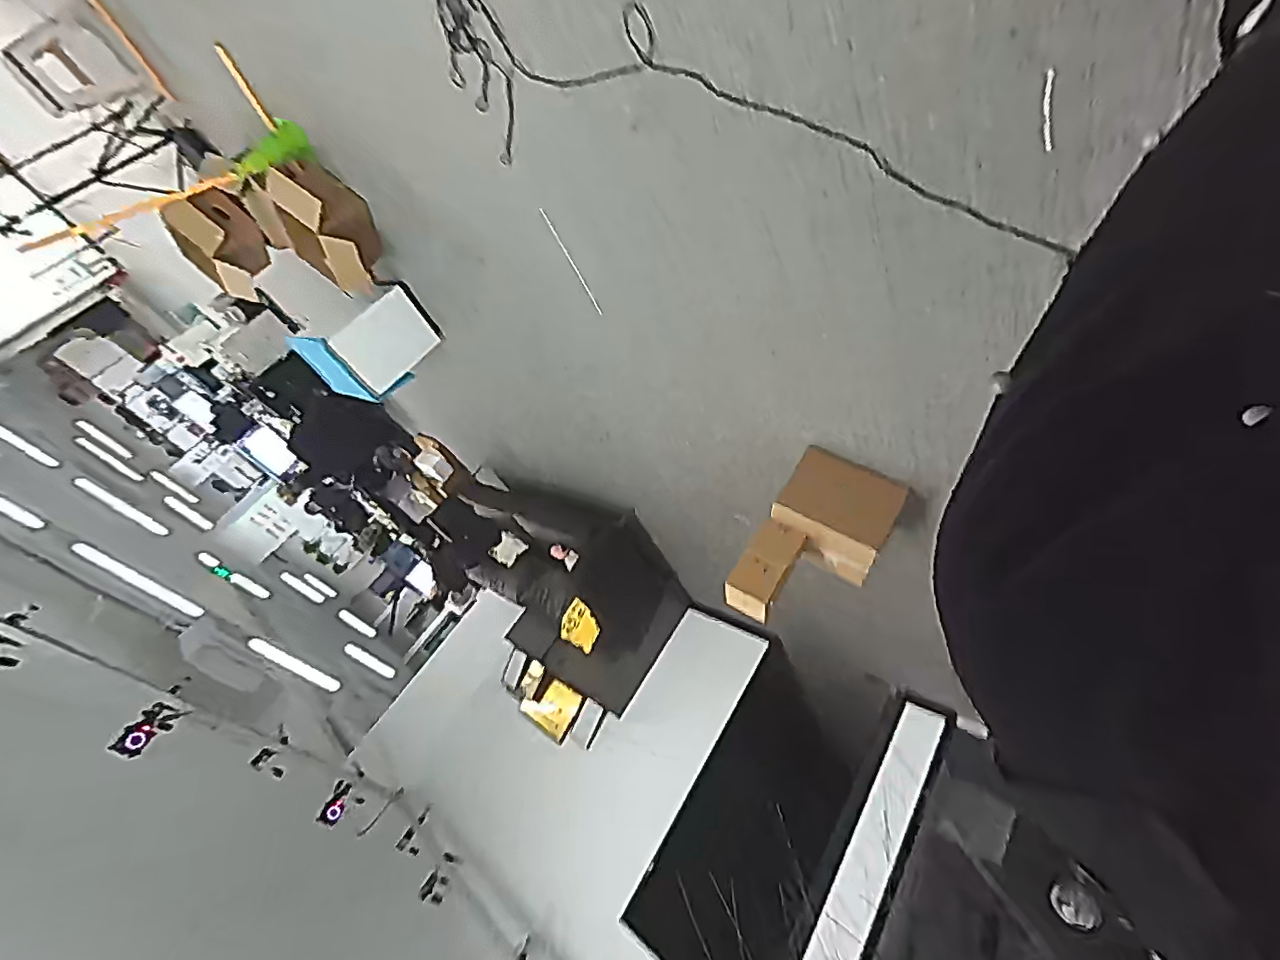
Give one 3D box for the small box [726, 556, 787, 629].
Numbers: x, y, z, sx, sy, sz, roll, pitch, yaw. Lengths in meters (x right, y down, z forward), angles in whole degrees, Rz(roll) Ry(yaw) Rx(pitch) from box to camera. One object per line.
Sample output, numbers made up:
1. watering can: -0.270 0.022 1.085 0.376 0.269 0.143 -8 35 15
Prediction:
1. small box: 0.436 0.419 2.024 0.168 0.176 0.179 26 153 27
